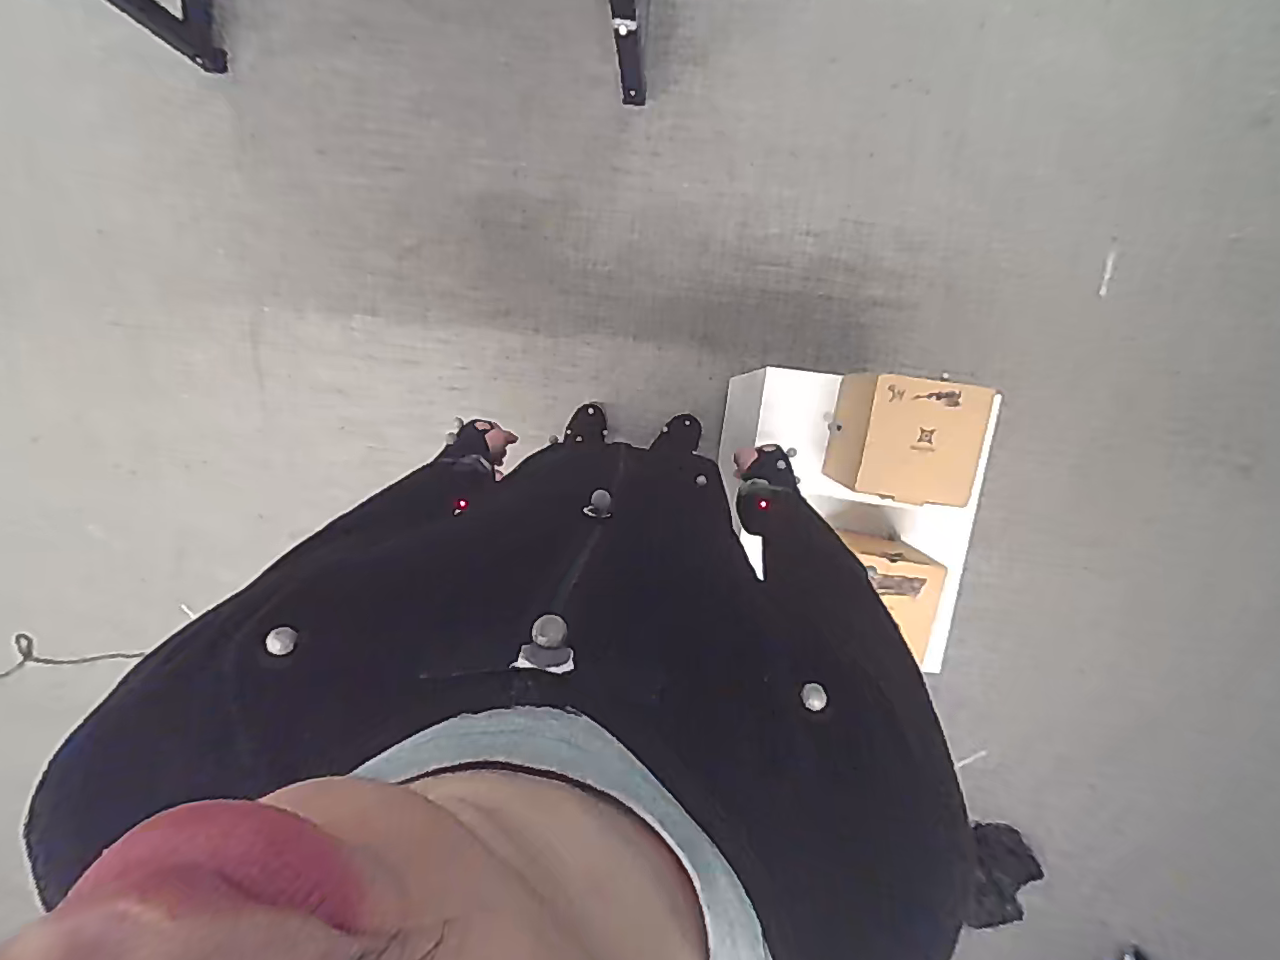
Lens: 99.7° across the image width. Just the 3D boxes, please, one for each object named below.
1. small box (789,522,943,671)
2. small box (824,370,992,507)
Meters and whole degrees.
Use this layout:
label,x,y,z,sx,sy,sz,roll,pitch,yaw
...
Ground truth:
label,x,y,z,sx,sy,sz,roll,pitch,yaw
small box,0.355,0.179,0.887,0.168,0.176,0.179,10,100,2
small box,0.399,-0.073,0.842,0.168,0.176,0.179,9,102,2
